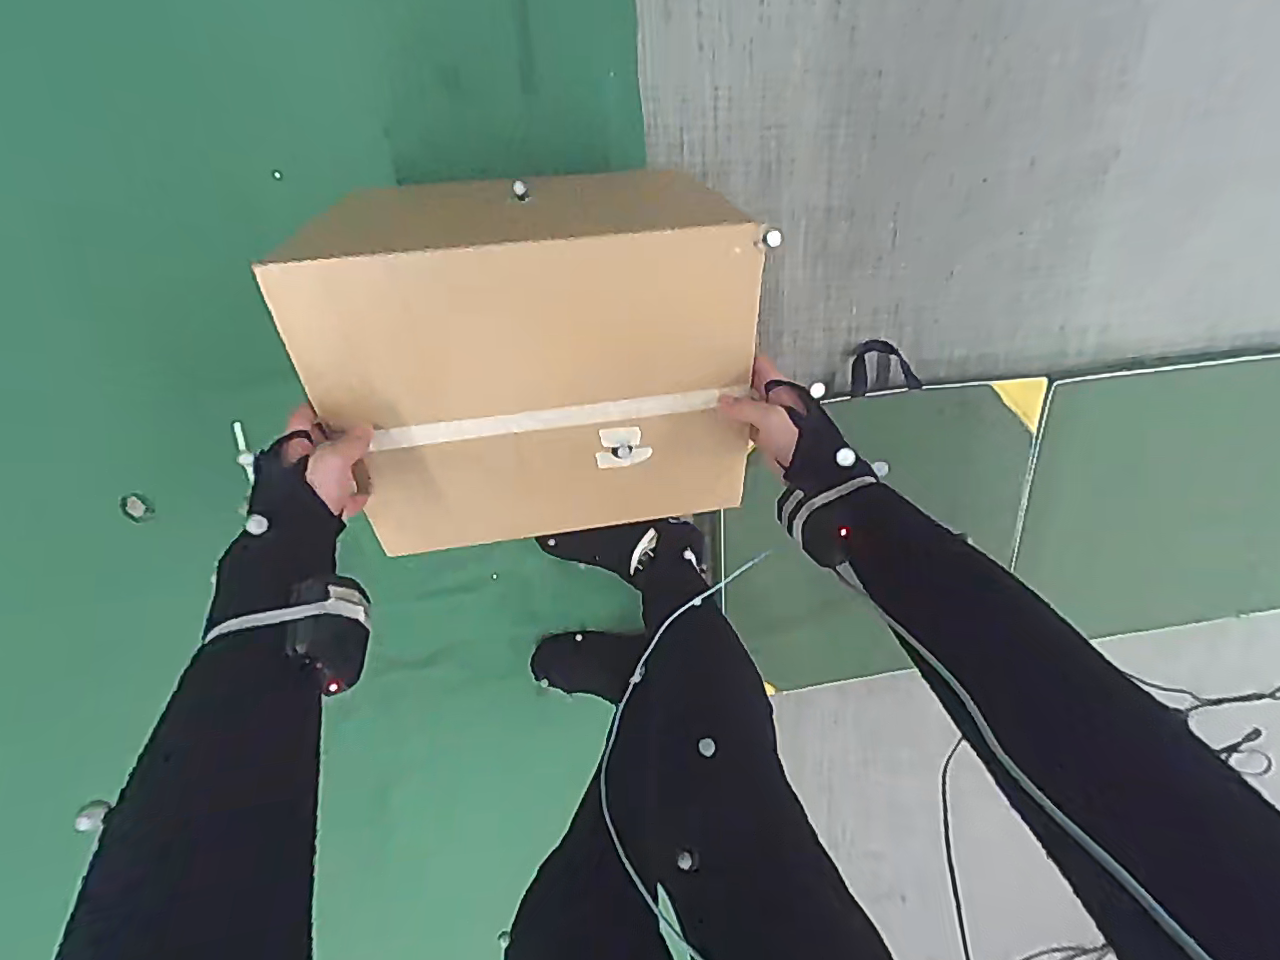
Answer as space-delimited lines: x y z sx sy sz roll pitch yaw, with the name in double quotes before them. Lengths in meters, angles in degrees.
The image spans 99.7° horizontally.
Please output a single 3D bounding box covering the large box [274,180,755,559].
"large box" -0.114 -0.151 0.649 0.408 0.320 0.320 -9 129 -7
